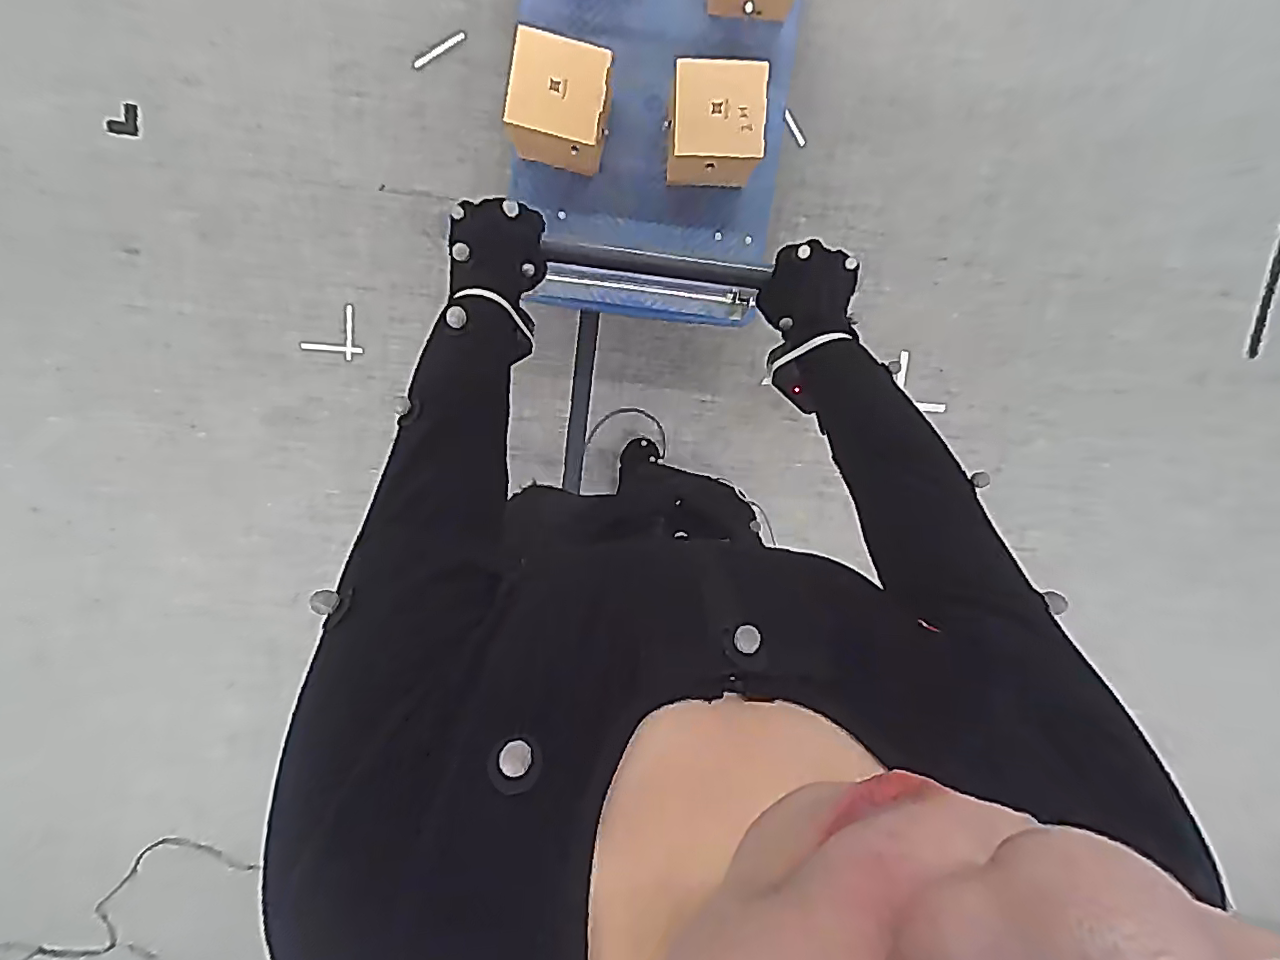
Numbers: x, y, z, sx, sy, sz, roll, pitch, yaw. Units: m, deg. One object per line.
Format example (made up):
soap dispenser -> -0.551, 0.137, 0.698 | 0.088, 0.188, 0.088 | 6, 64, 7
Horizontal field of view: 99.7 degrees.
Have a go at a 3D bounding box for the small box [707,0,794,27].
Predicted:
small box -> 0.228, -1.032, 1.044 | 0.168, 0.176, 0.179 | 3, 102, -3

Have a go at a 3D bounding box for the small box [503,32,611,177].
small box -> -0.160, -0.737, 1.084 | 0.179, 0.176, 0.168 | 11, 100, -7

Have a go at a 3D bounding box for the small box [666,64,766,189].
small box -> 0.145, -0.709, 1.104 | 0.179, 0.176, 0.168 | 1, 101, -3
